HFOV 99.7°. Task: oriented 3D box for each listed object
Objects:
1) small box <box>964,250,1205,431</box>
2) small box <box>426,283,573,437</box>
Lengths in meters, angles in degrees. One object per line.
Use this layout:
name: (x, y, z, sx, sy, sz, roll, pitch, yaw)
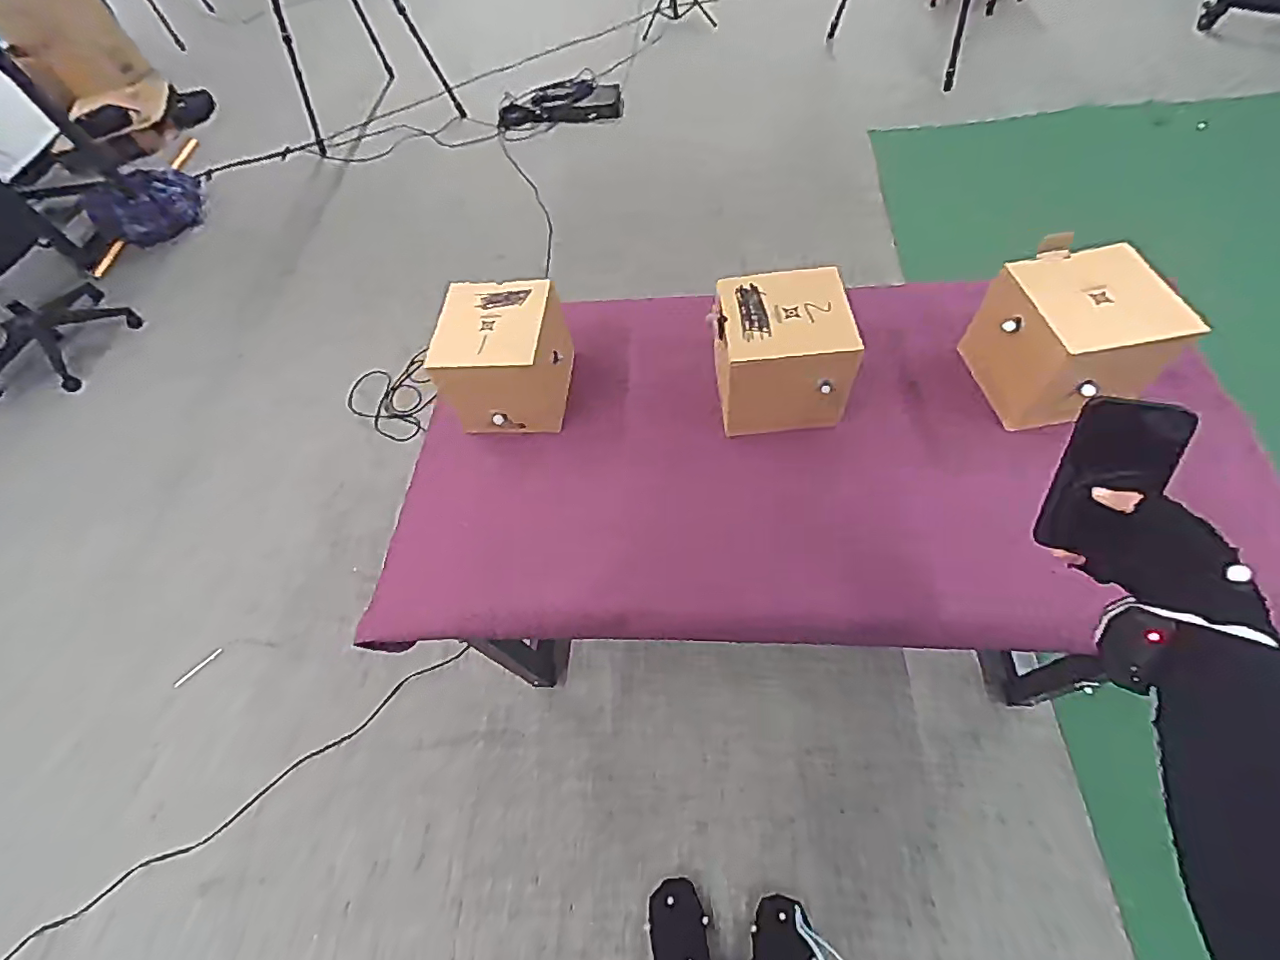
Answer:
small box: (0.598, -0.184, 0.760, 0.168, 0.176, 0.179, -9, 58, 3)
small box: (-0.209, -0.189, 0.867, 0.168, 0.176, 0.179, 1, 61, 8)
